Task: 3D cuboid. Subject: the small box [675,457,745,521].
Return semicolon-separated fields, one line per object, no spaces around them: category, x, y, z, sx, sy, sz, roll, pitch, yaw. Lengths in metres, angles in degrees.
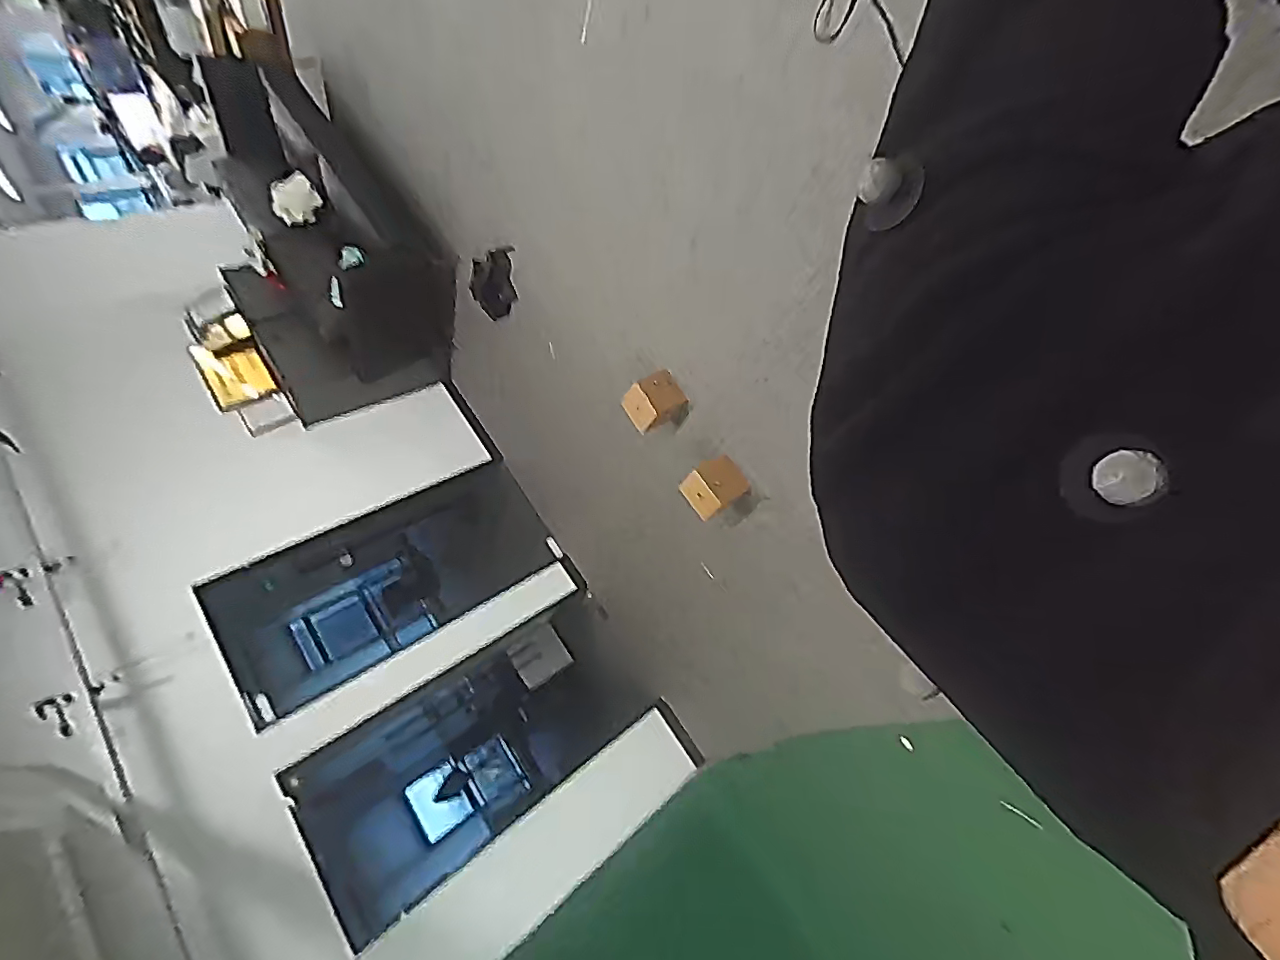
small box;0.277;0.029;2.138;0.179;0.176;0.168;54;148;13

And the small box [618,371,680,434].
small box;0.041;-0.322;2.219;0.168;0.176;0.179;58;149;11
